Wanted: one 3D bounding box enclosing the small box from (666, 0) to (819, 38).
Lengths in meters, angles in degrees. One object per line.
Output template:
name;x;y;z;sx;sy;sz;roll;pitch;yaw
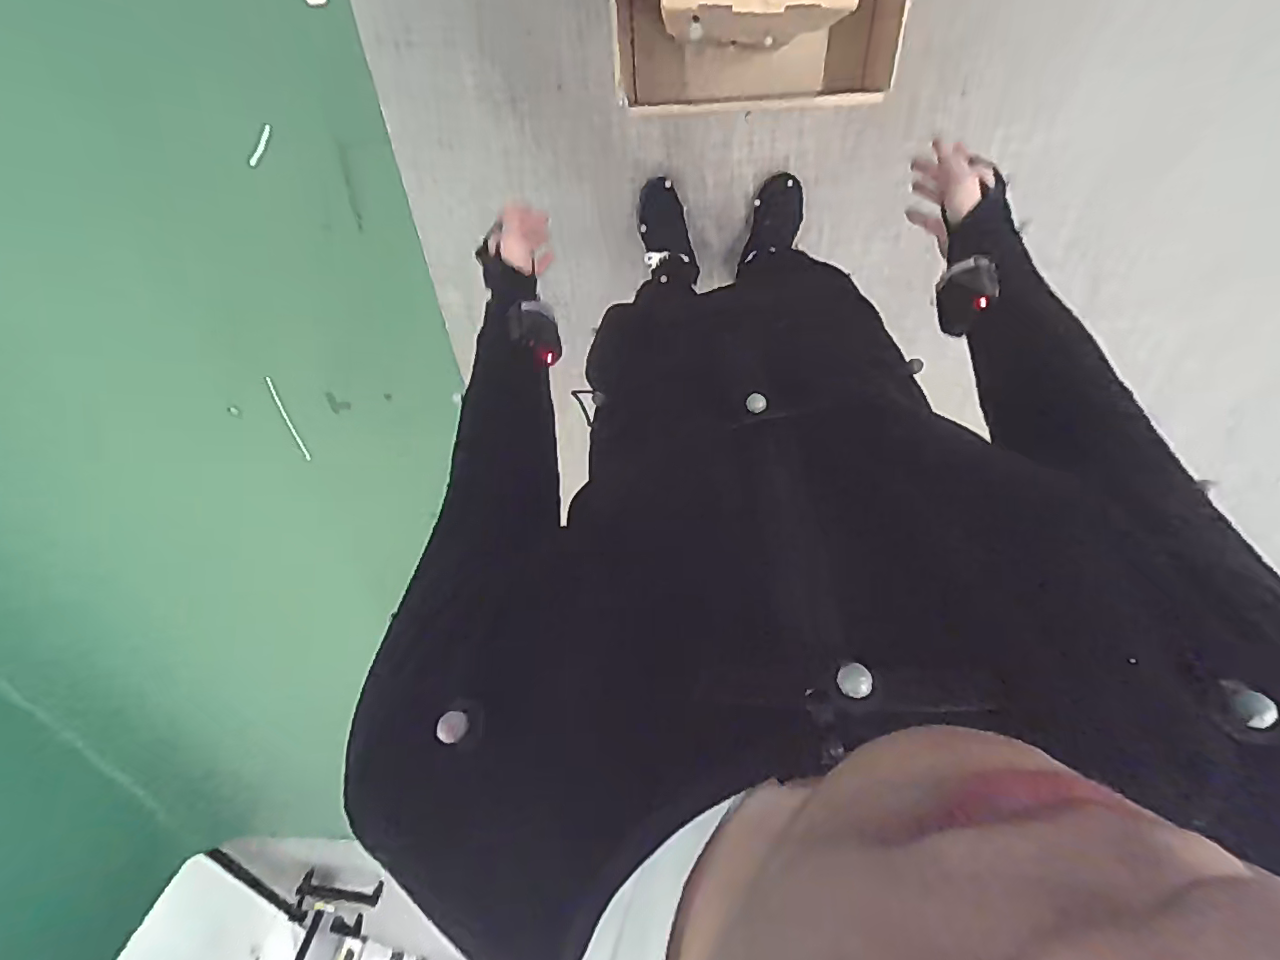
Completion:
small box;0.120;-0.615;0.603;0.168;0.176;0.179;4;123;2
